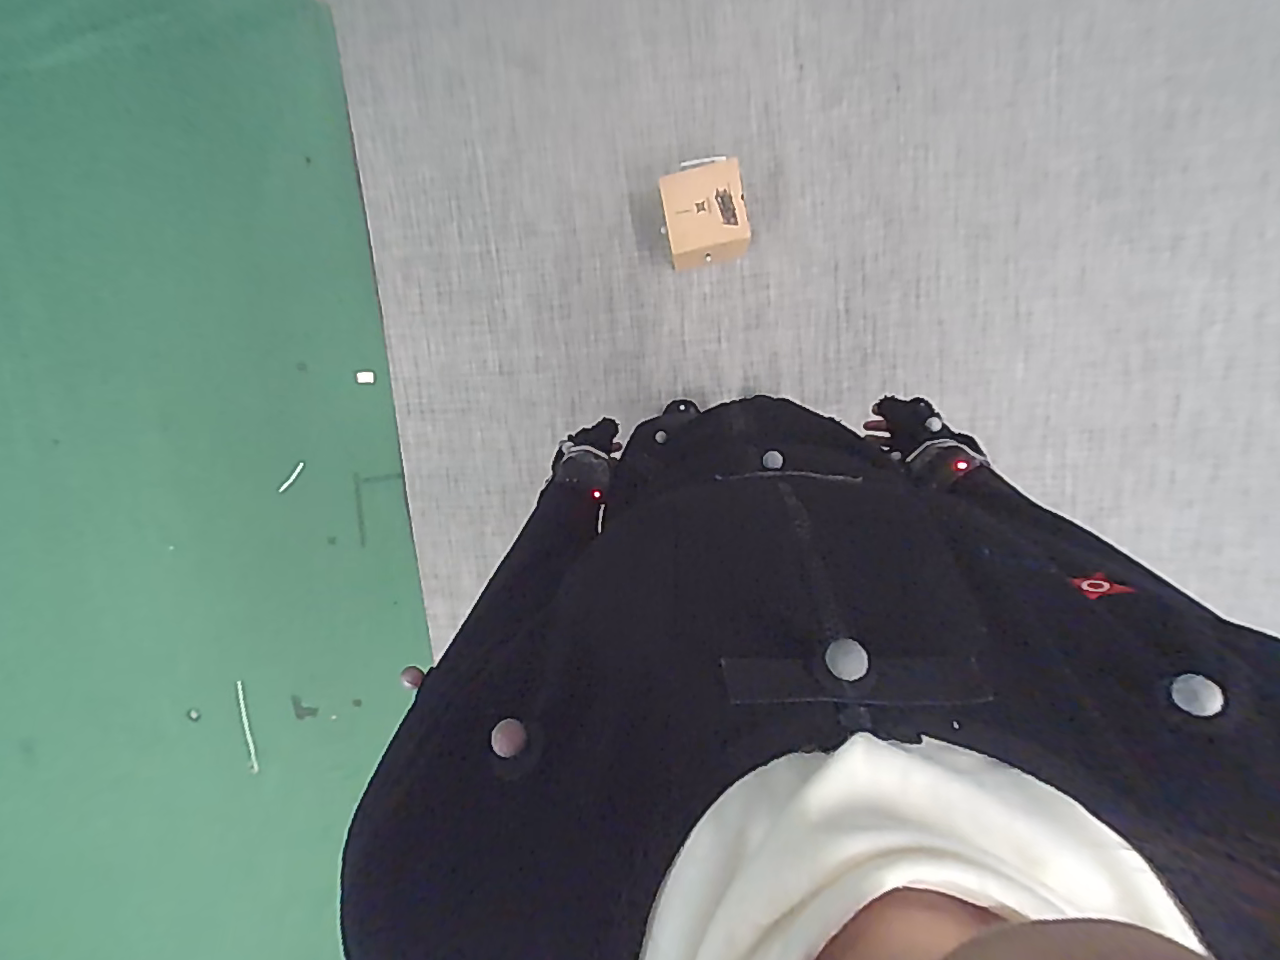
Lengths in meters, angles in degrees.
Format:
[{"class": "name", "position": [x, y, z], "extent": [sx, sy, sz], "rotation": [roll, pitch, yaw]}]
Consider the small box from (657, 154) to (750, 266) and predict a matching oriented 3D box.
[{"class": "small box", "position": [0.143, -0.615, 1.251], "extent": [0.179, 0.176, 0.168], "rotation": [-14, 98, 7]}]
